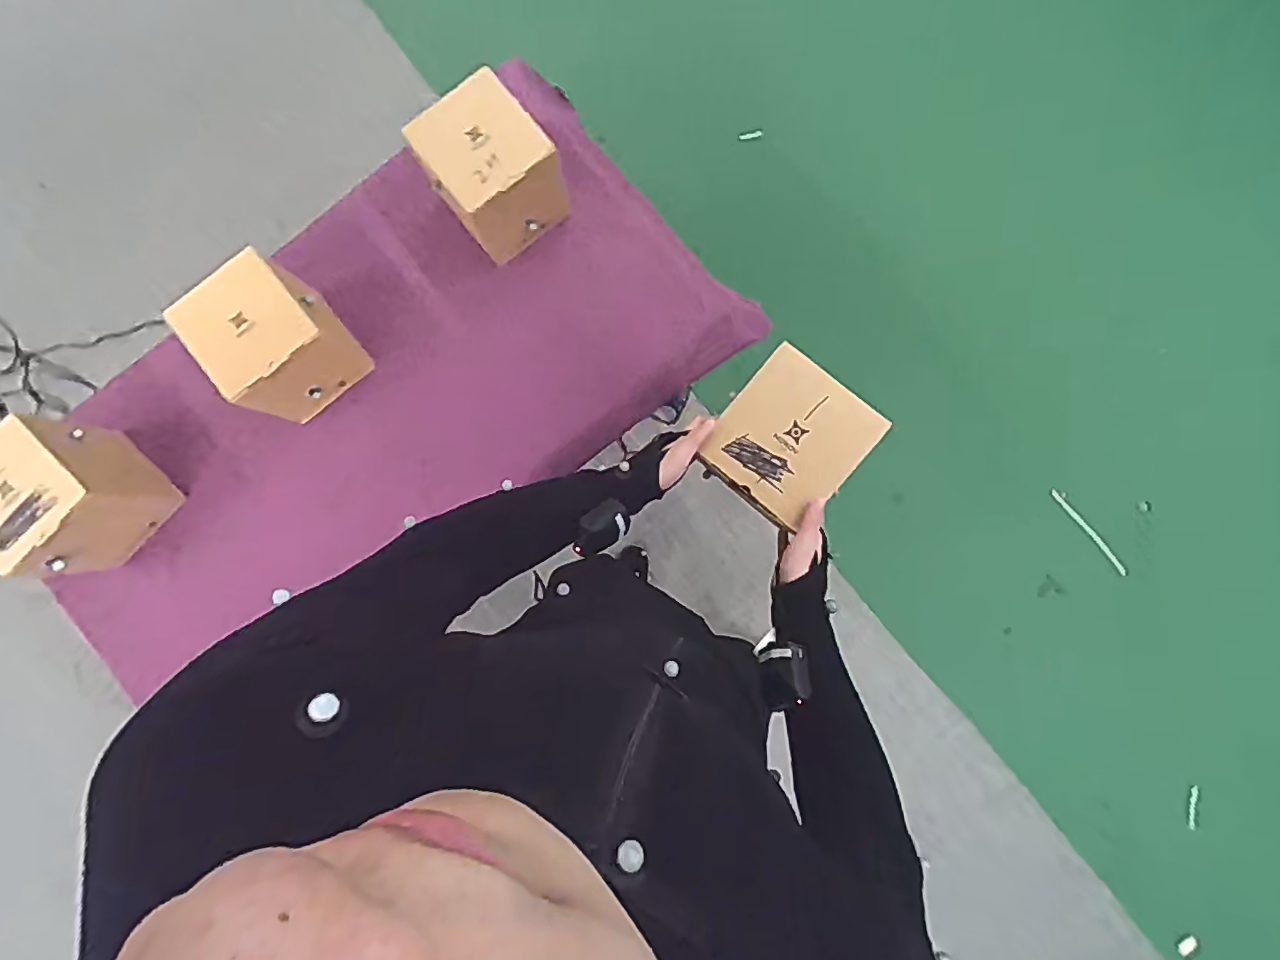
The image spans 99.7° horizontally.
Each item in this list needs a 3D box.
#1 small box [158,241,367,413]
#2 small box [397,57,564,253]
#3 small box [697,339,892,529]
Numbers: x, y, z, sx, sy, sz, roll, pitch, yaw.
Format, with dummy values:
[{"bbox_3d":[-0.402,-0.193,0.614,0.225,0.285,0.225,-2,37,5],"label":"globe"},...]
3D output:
[{"bbox_3d":[-0.585,-0.230,0.863,0.168,0.176,0.179,-40,88,-3],"label":"small box"},{"bbox_3d":[-0.246,-0.511,0.877,0.168,0.176,0.179,-39,87,-1],"label":"small box"},{"bbox_3d":[0.195,-0.054,0.733,0.168,0.176,0.179,42,93,5],"label":"small box"}]
